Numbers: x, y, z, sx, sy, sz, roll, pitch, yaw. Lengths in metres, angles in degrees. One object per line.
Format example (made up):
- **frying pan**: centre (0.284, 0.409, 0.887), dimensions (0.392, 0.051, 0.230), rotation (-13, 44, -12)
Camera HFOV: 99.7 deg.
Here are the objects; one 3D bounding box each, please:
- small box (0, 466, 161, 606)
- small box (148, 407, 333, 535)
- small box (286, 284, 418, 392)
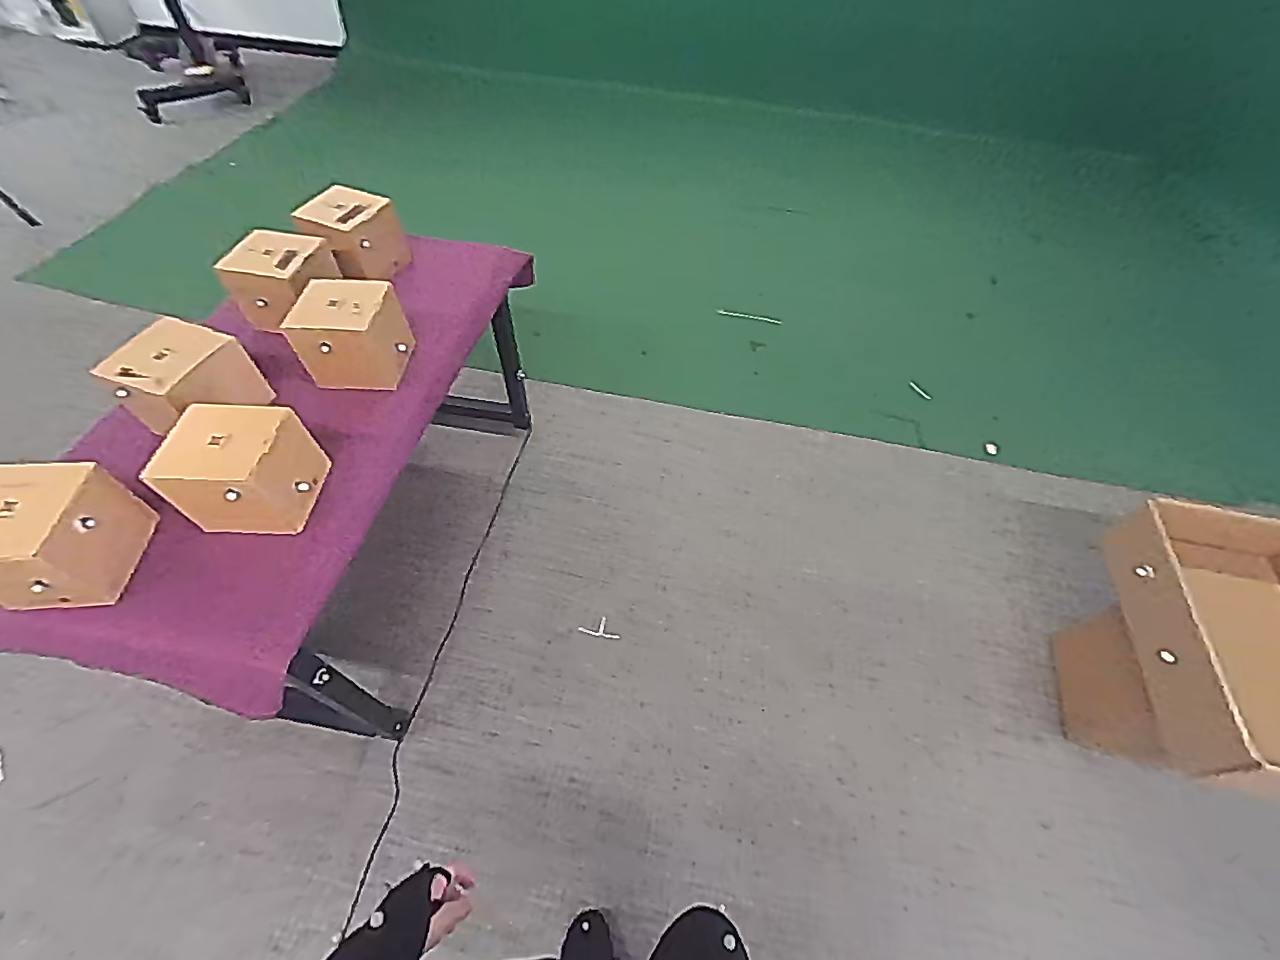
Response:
- **small box**: centre (-0.943, 0.096, 0.878), dimensions (0.168, 0.176, 0.179), rotation (-1, 53, -5)
- **small box**: centre (-0.696, -0.012, 0.968), dimensions (0.179, 0.176, 0.168), rotation (2, 53, 0)
- **small box**: centre (-0.618, -0.308, 1.185), dimensions (0.179, 0.176, 0.168), rotation (2, 55, 1)
